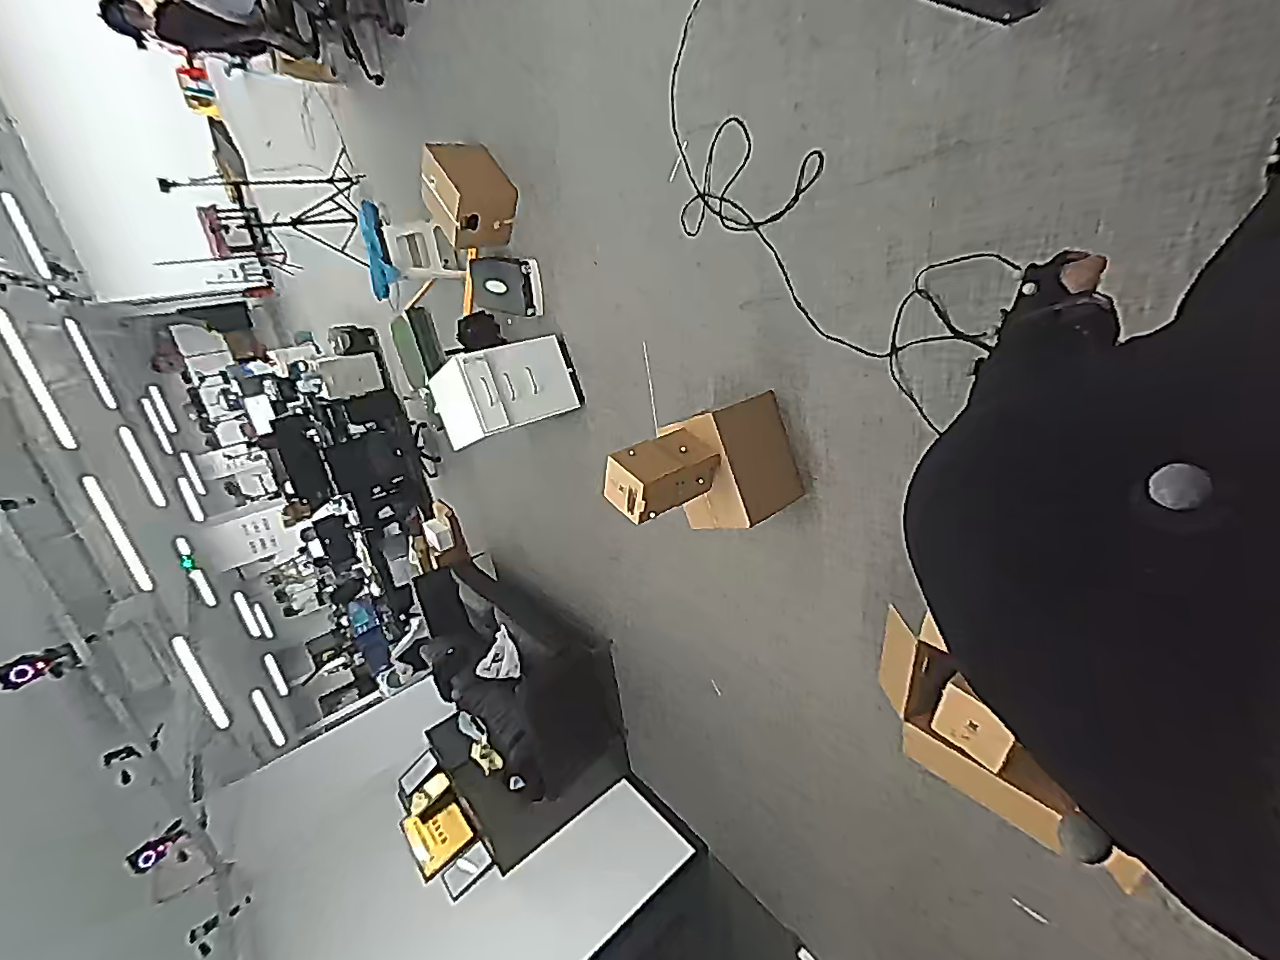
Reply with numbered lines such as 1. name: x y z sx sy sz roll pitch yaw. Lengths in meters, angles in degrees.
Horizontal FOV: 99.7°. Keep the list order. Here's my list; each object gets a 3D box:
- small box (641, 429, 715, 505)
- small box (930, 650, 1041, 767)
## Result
1. small box: 0.128 -0.051 1.809 0.179 0.176 0.168 38 136 32
2. small box: 0.876 0.569 1.369 0.168 0.176 0.179 33 134 44
